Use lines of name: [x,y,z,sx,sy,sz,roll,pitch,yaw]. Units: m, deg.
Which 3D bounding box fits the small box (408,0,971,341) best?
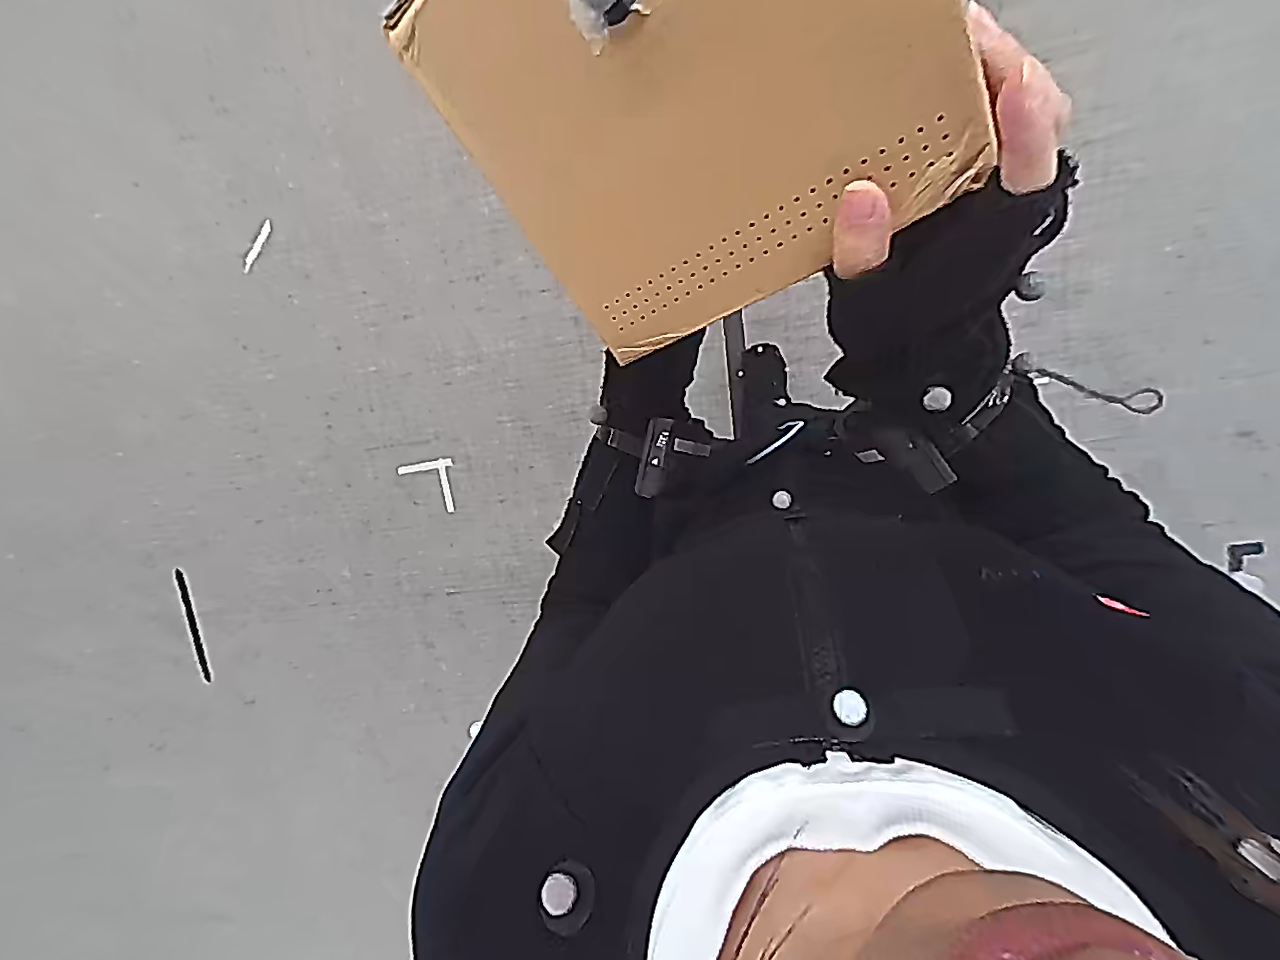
small box: [0.035,-0.200,0.270,0.179,0.168,0.176,-18,126,32]
